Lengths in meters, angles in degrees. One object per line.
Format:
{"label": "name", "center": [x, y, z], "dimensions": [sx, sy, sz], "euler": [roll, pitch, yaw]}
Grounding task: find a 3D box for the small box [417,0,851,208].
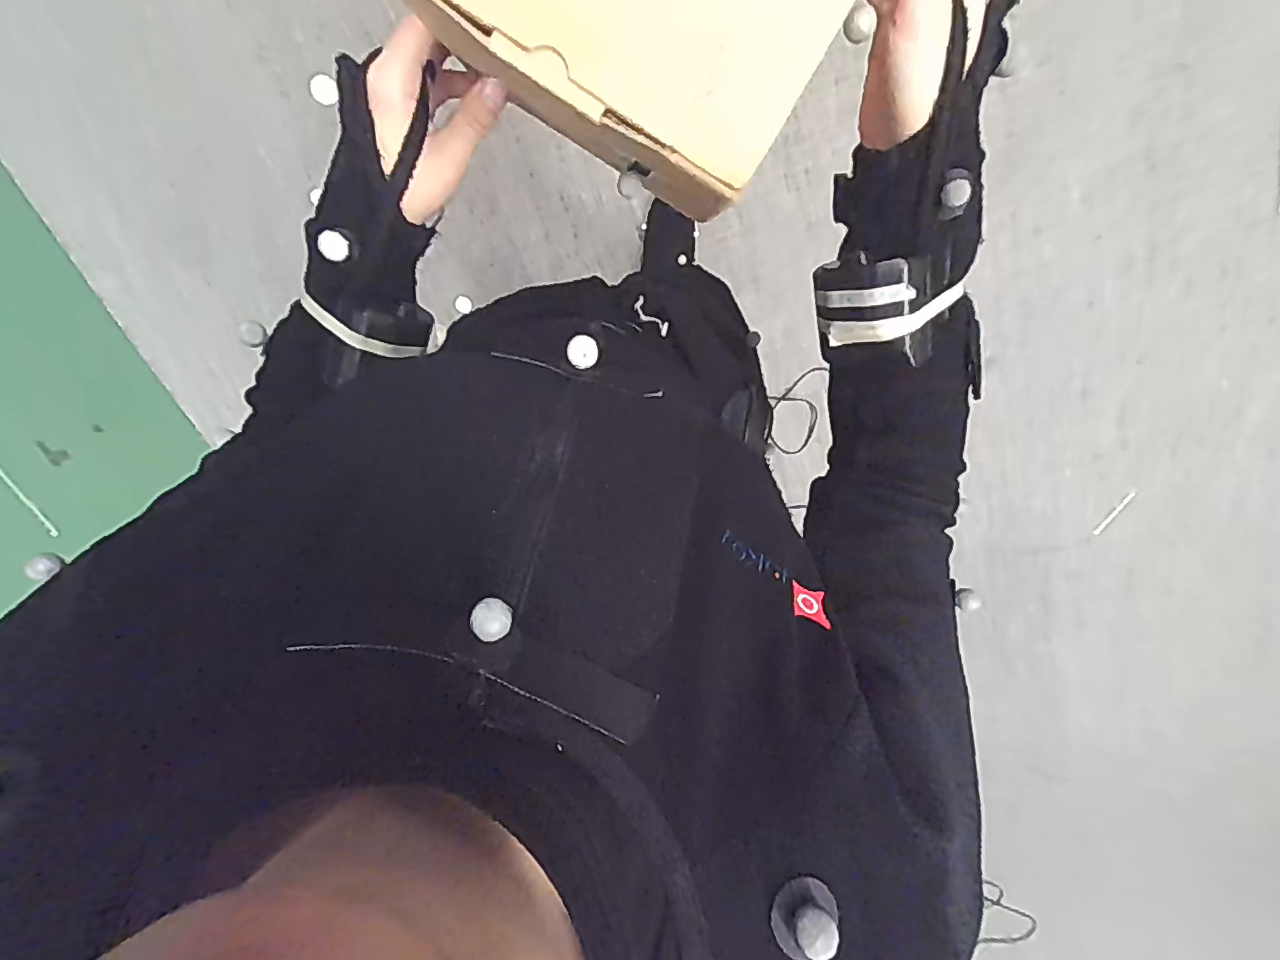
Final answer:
{"label": "small box", "center": [0.013, -0.244, 0.234], "dimensions": [0.168, 0.176, 0.179], "euler": [28, 110, -11]}
